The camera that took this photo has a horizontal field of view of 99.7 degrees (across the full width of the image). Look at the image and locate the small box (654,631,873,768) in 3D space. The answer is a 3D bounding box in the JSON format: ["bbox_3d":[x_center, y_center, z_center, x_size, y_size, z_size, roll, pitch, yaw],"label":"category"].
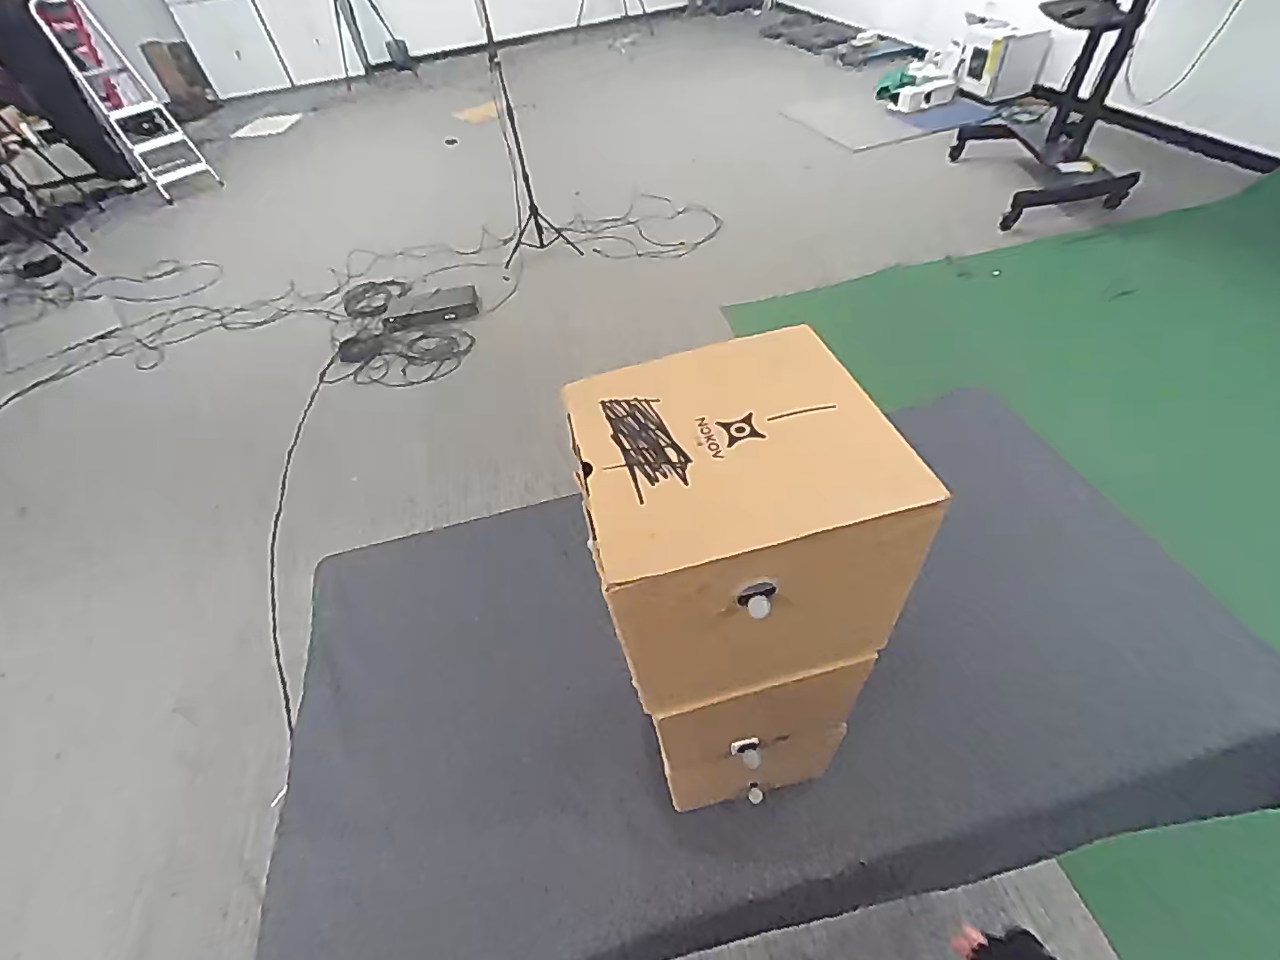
[{"bbox_3d":[0.081,0.134,0.498,0.168,0.176,0.179,-16,49,-3],"label":"small box"}]

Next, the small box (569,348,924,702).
[{"bbox_3d":[0.061,0.037,0.388,0.179,0.176,0.168,-14,48,-3],"label":"small box"}]

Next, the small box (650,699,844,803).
[{"bbox_3d":[0.101,0.243,0.616,0.179,0.176,0.168,-13,47,-4],"label":"small box"}]
